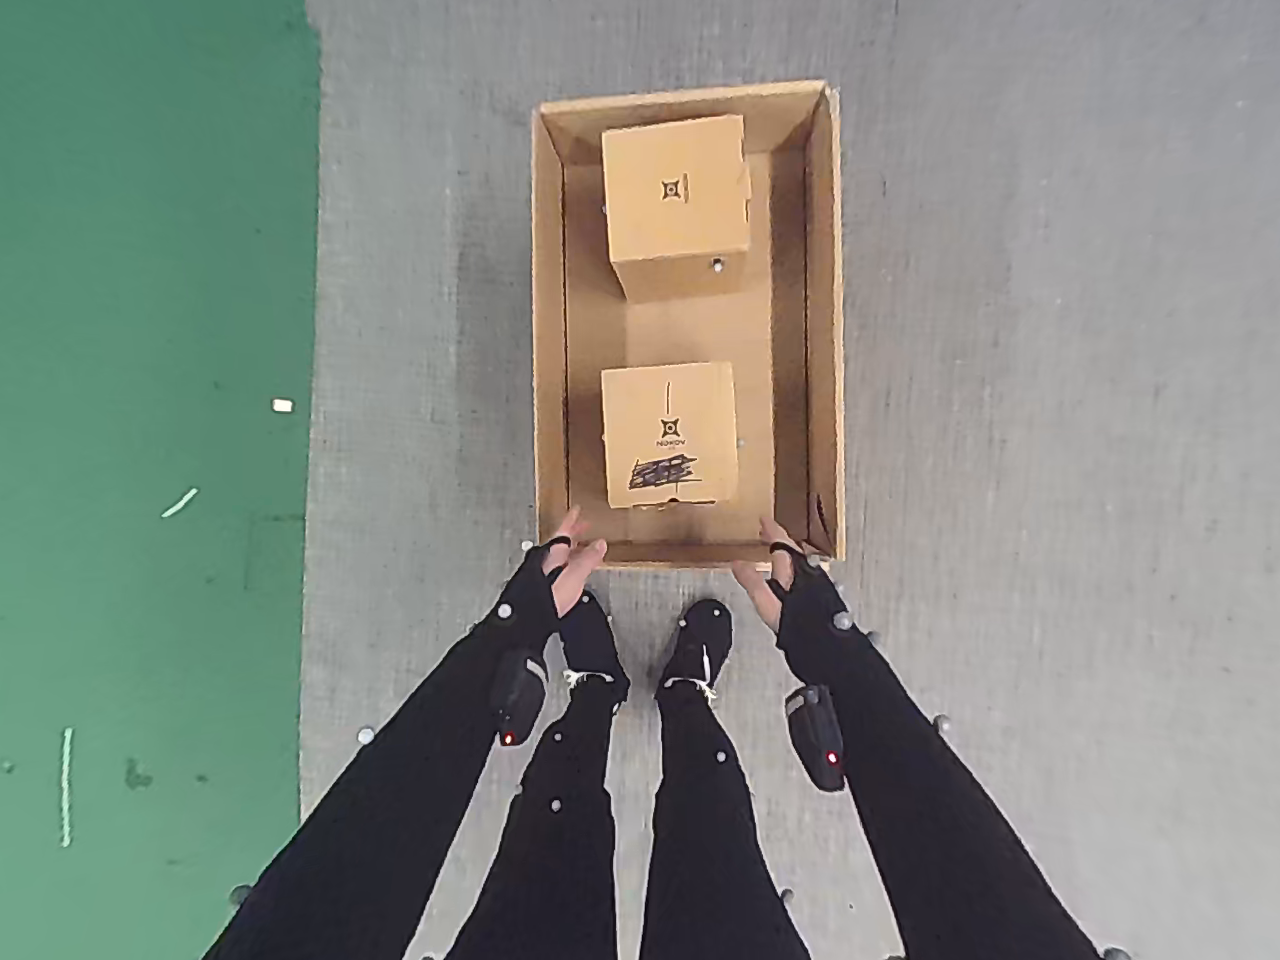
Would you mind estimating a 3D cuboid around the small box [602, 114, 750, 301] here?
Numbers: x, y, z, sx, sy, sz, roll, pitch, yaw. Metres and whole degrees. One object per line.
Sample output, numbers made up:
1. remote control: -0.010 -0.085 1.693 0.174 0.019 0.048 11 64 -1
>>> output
1. small box: 0.051 -0.357 0.741 0.179 0.176 0.168 -4 90 5
